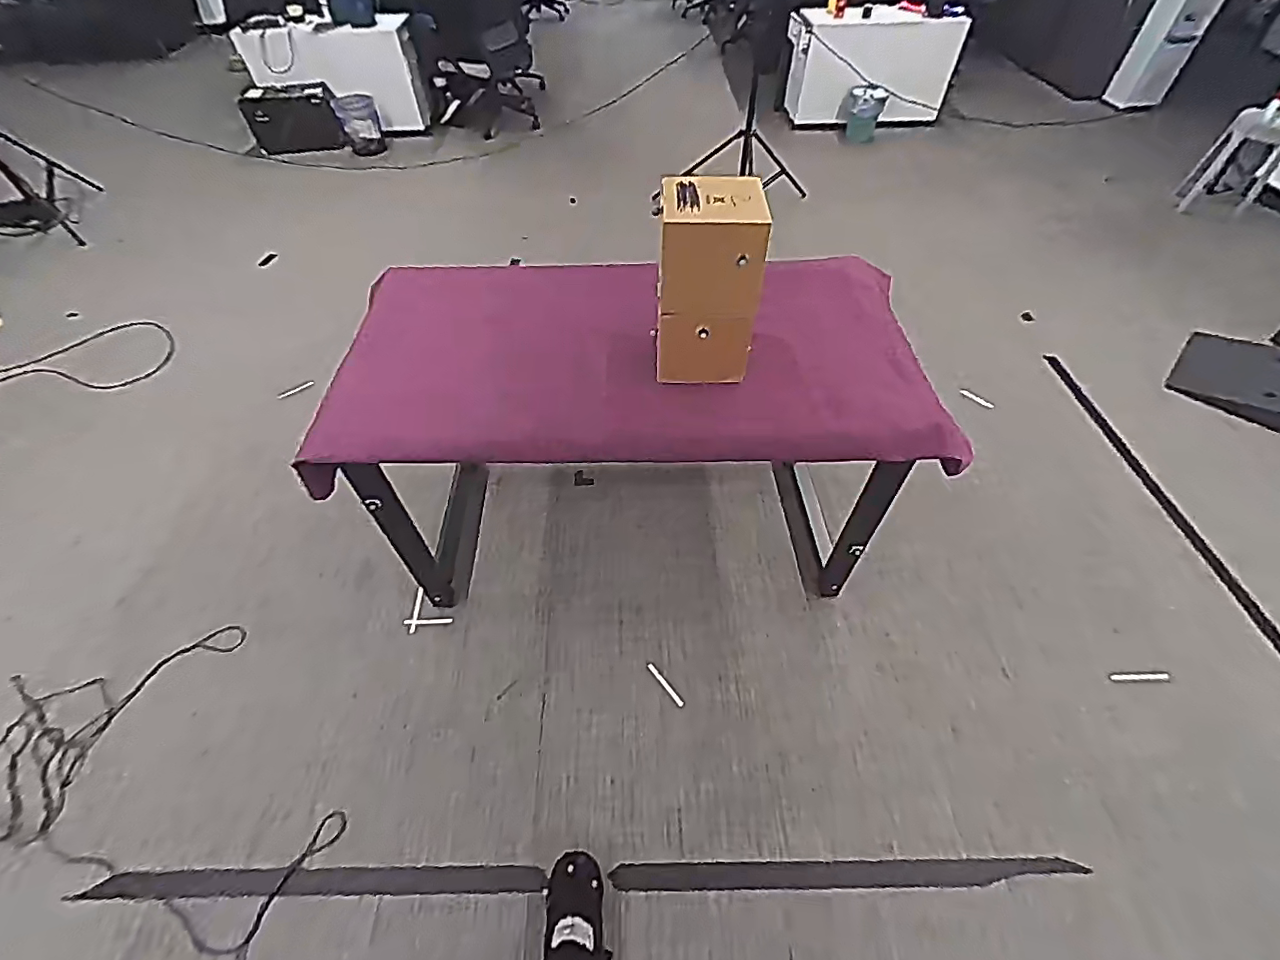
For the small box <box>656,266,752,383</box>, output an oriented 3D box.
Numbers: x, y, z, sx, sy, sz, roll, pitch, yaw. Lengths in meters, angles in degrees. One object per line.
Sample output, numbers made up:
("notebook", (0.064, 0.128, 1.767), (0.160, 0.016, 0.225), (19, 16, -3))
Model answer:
("small box", (0.120, -0.310, 1.090), (0.179, 0.176, 0.168), (0, 52, 0))
